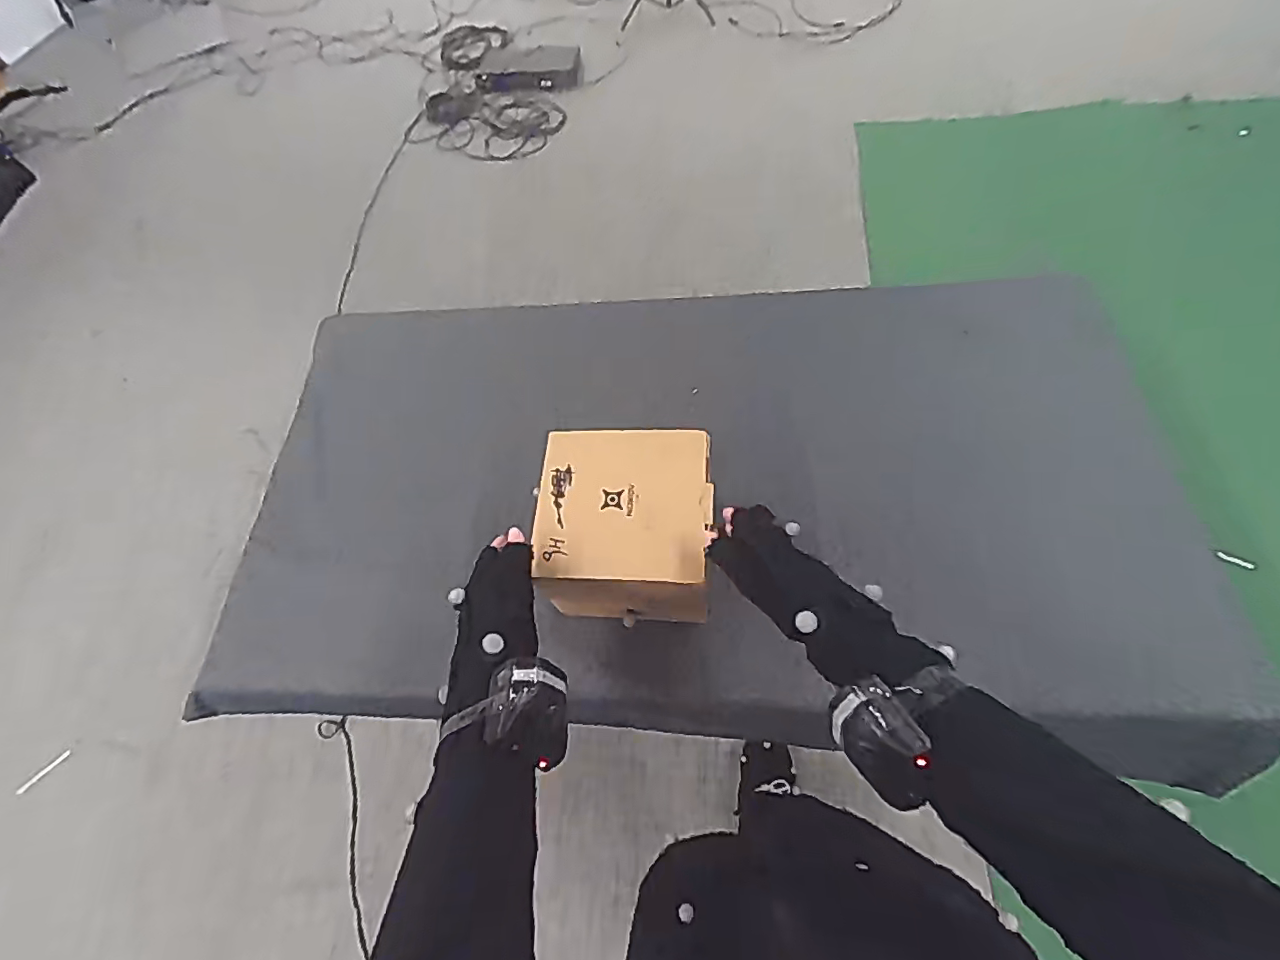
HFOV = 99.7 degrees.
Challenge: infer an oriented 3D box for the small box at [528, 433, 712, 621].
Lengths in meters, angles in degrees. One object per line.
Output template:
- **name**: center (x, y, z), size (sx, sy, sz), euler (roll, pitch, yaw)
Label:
- **small box**: center (-0.010, 0.061, 0.620), size (0.179, 0.176, 0.168), euler (1, 63, 7)
